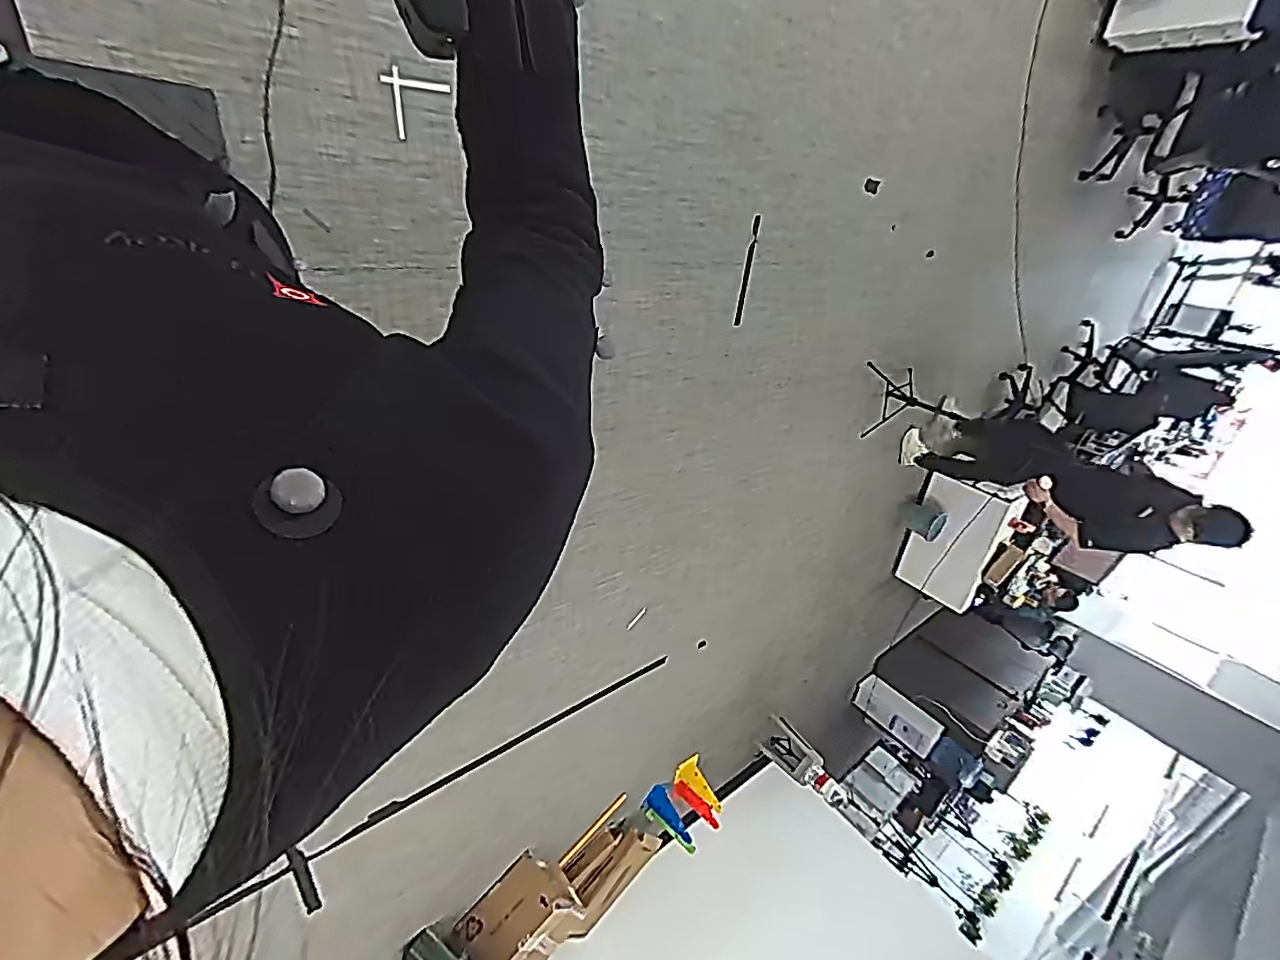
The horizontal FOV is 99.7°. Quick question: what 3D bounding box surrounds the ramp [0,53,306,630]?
[{"bbox_3d":[-1.016,-0.222,1.044,0.509,0.206,0.991,-14,123,-34],"label":"ramp"}]
